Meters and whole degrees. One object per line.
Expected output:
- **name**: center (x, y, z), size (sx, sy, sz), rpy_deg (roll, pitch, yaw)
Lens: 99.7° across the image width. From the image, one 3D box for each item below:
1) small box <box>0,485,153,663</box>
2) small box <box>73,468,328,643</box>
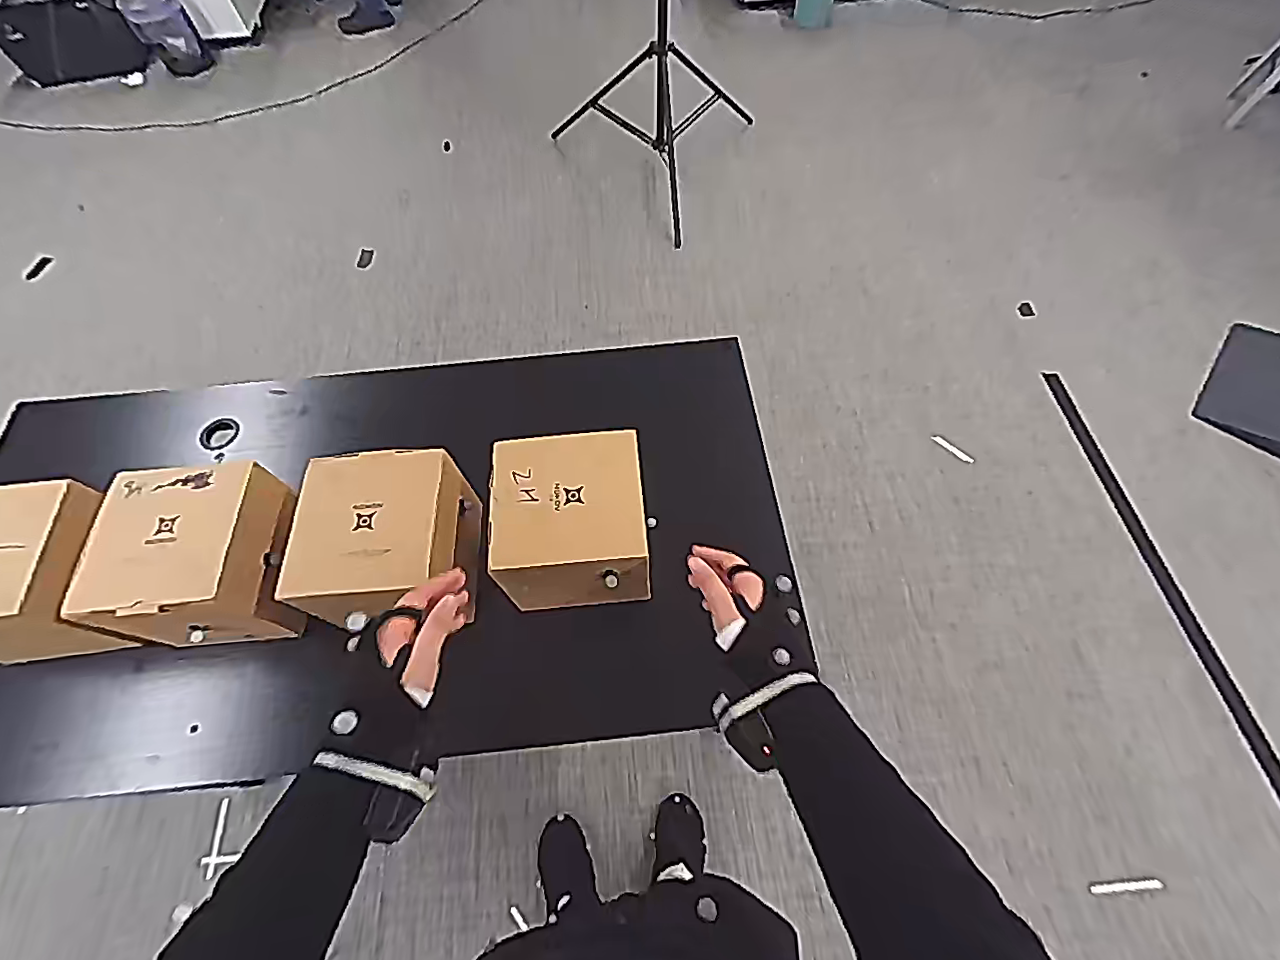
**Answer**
- **small box**: center (-0.745, 0.125, 0.681), size (0.179, 0.176, 0.168), rpy_deg (-7, 62, -3)
- **small box**: center (-0.531, 0.105, 0.687), size (0.168, 0.176, 0.179), rpy_deg (-5, 62, 0)
